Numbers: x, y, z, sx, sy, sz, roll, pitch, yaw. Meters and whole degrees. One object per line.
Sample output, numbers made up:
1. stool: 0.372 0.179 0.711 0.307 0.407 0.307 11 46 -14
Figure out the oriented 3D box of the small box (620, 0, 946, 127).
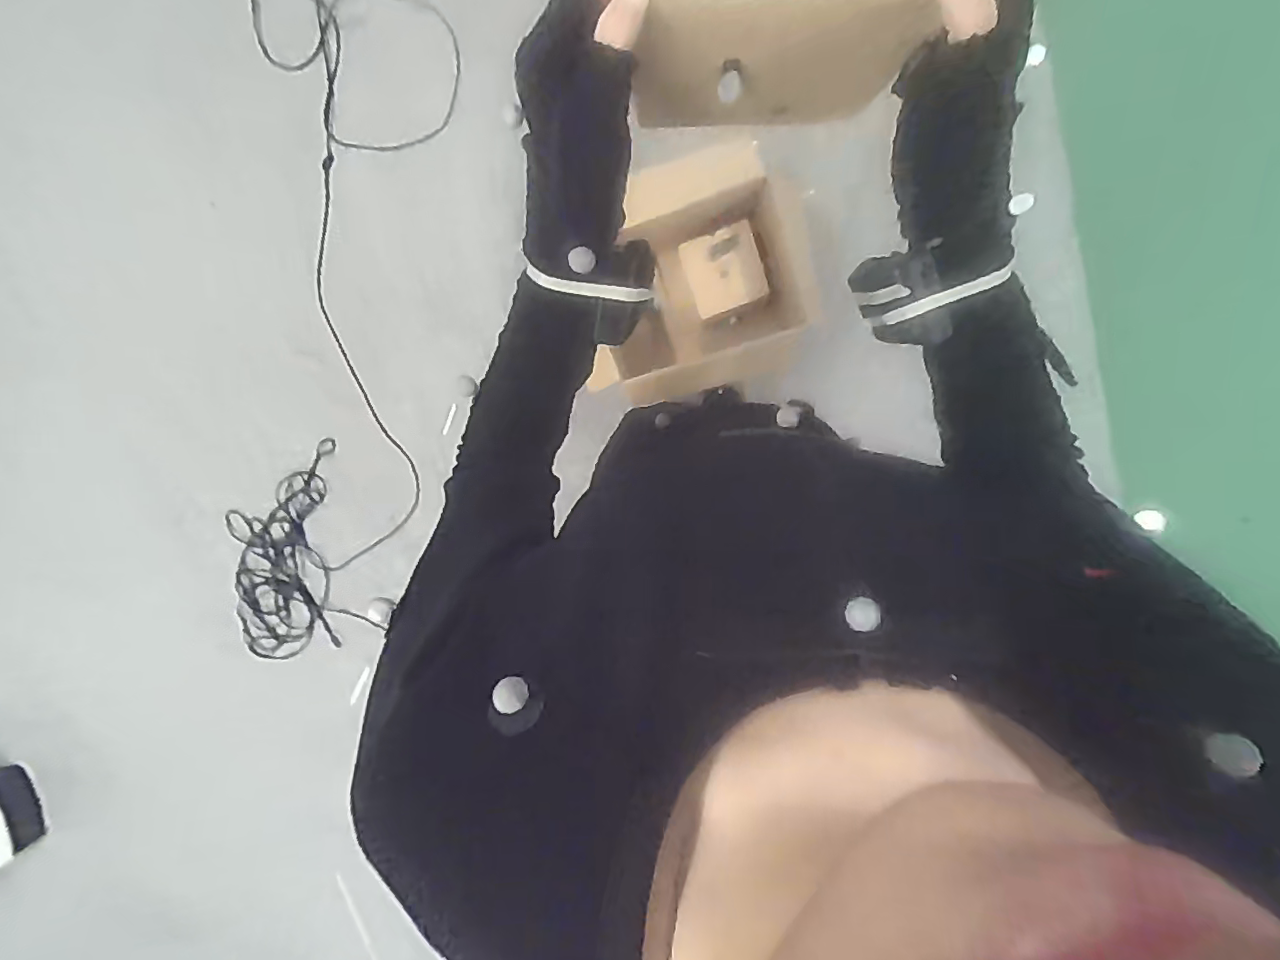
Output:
1. small box: 0.076 -0.335 0.325 0.168 0.176 0.179 0 104 2
